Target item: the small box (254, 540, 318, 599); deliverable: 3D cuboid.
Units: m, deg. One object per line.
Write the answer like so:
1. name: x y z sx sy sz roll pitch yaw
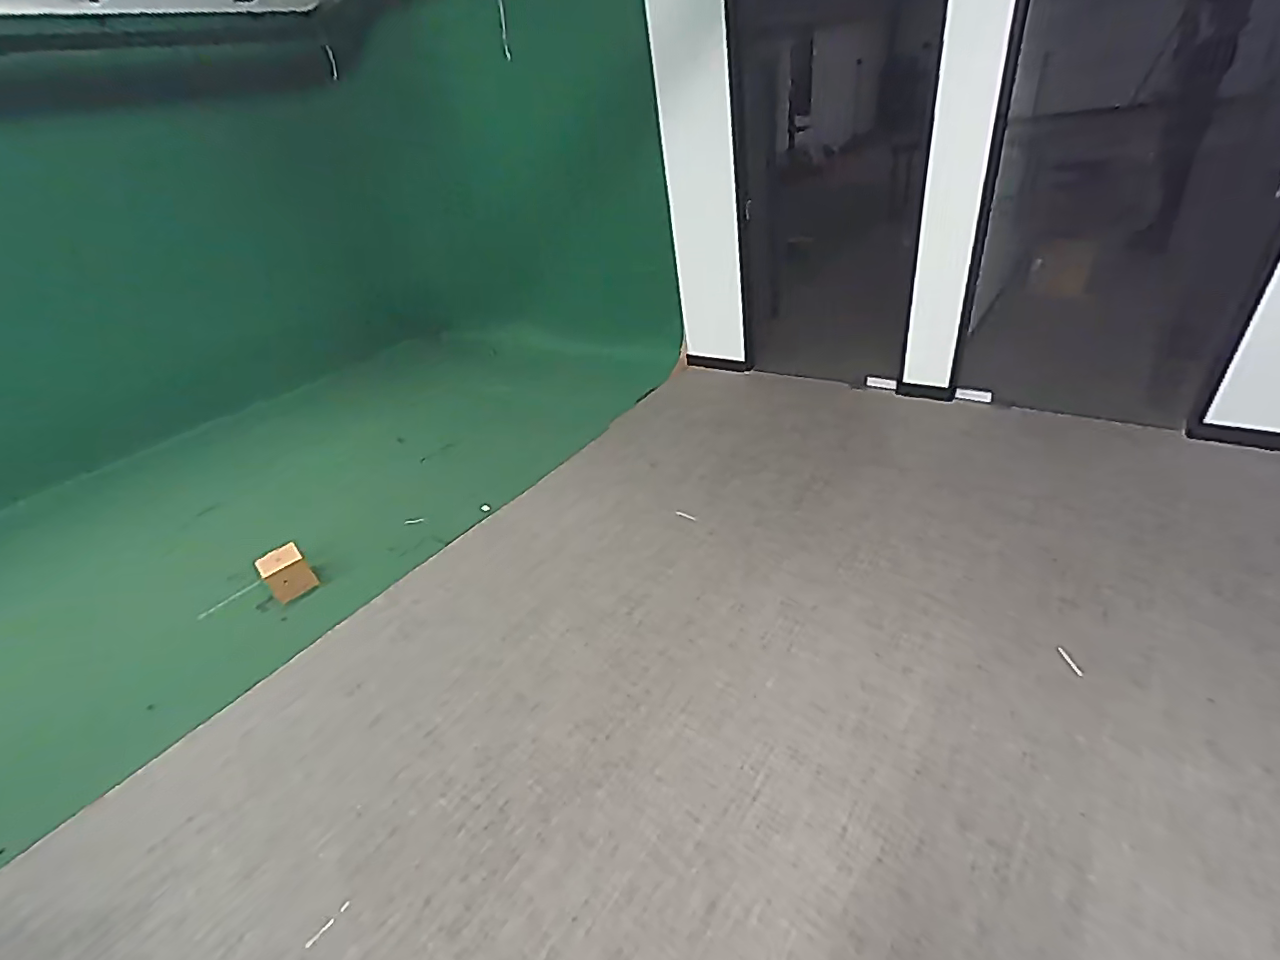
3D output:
1. small box: -1.587 0.409 2.429 0.168 0.176 0.179 -34 40 -31
